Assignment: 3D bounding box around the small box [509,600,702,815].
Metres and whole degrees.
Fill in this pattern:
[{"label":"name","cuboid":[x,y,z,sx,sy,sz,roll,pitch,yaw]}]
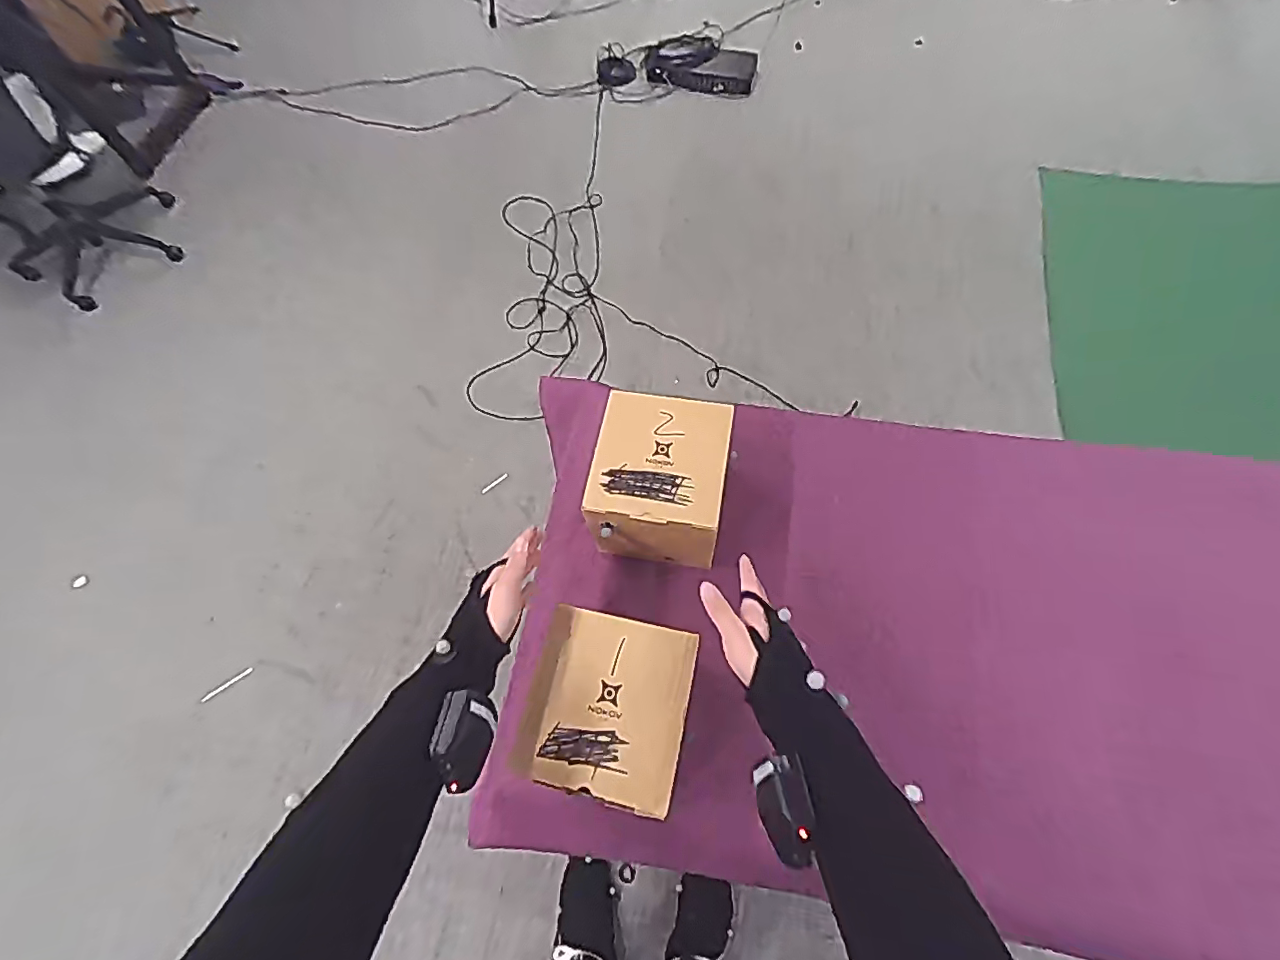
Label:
[{"label":"small box","cuboid":[-0.027,0.259,0.625,0.168,0.176,0.179,11,64,8]}]
